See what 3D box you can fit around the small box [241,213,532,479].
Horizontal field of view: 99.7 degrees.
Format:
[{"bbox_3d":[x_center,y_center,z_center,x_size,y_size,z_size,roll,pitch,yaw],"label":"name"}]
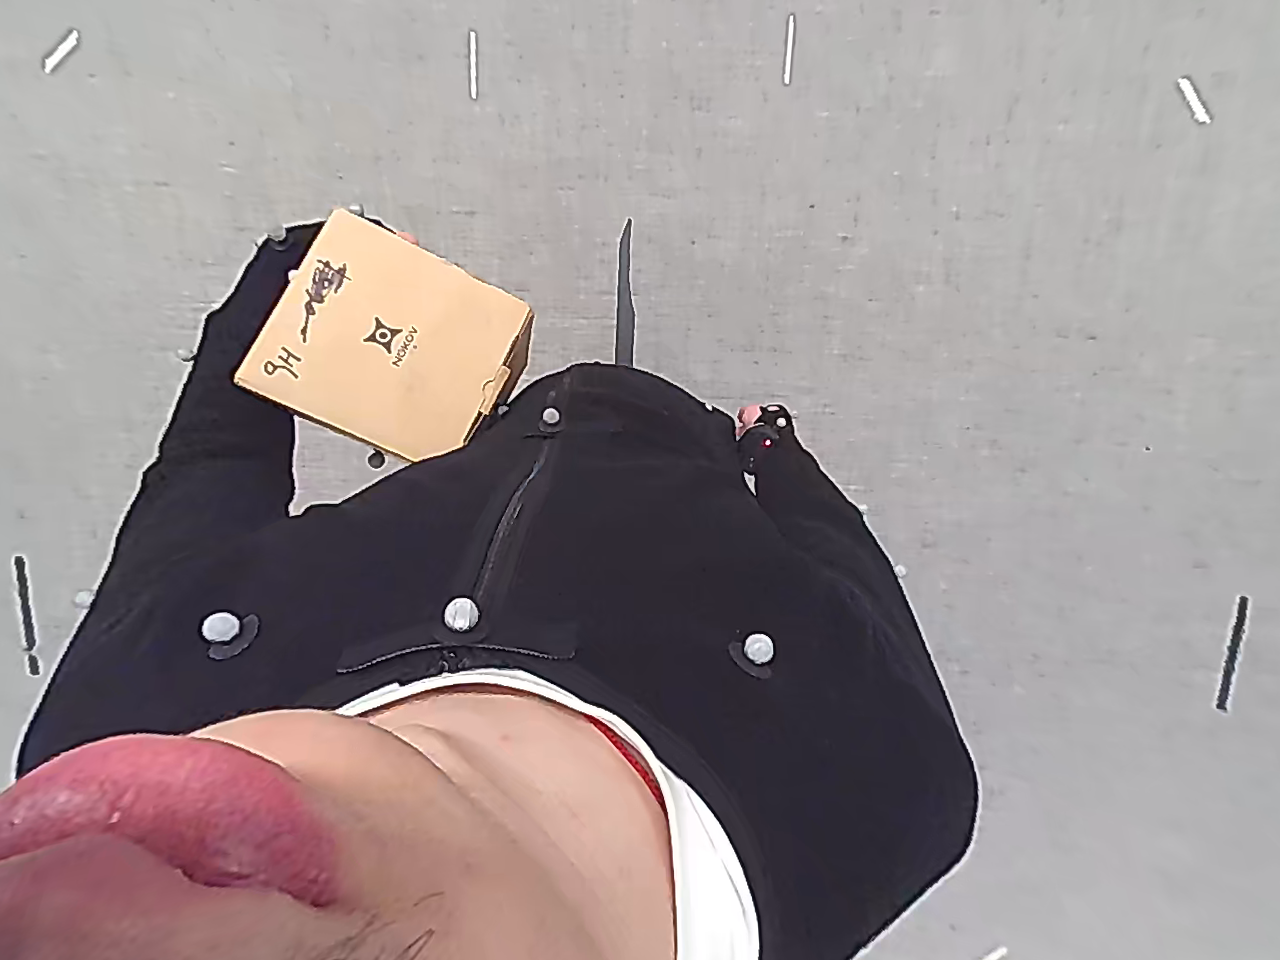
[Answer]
[{"bbox_3d":[-0.222,-0.108,0.525,0.179,0.176,0.168,25,80,-12],"label":"small box"}]
